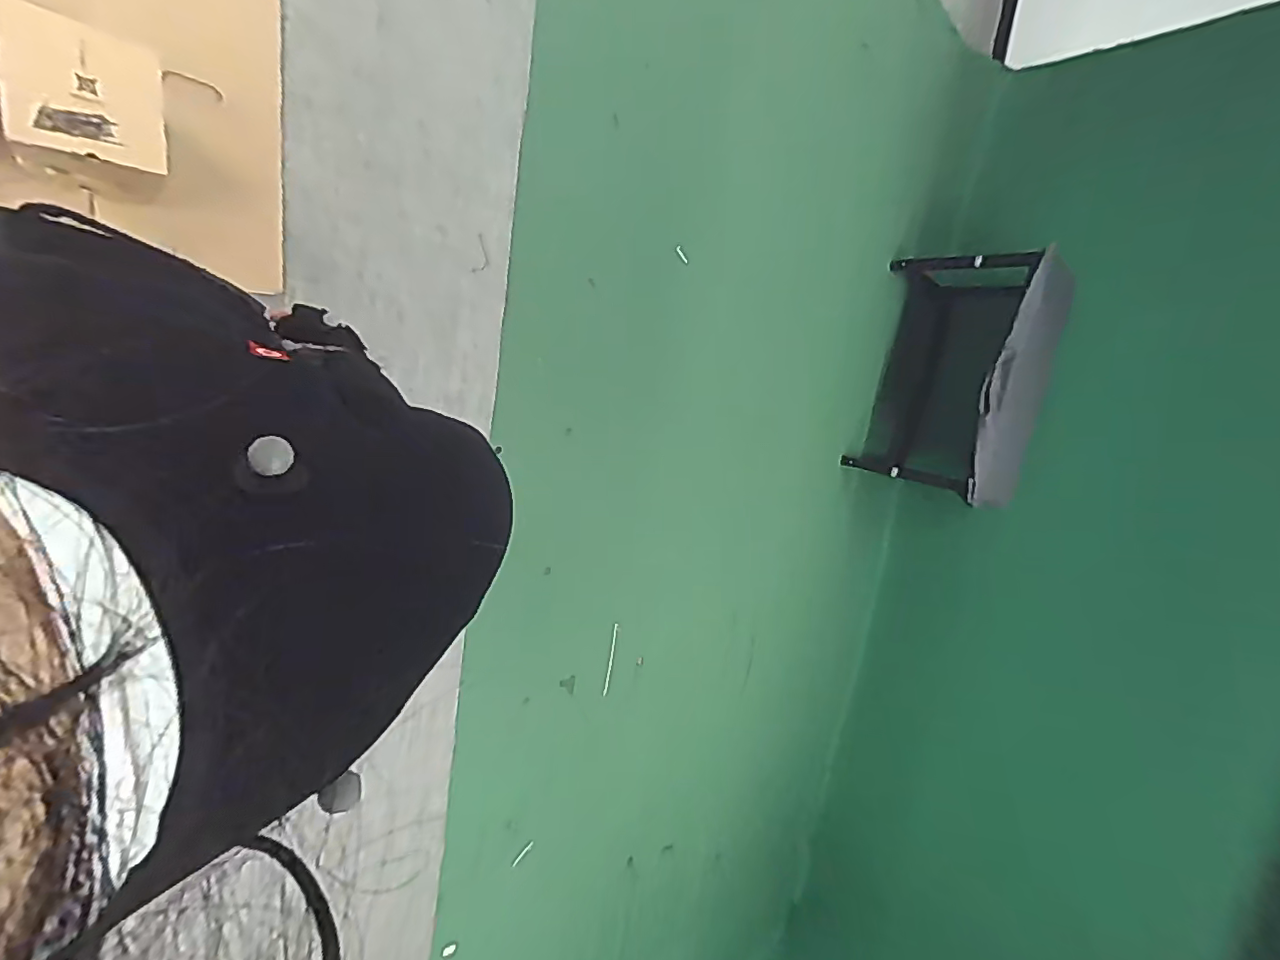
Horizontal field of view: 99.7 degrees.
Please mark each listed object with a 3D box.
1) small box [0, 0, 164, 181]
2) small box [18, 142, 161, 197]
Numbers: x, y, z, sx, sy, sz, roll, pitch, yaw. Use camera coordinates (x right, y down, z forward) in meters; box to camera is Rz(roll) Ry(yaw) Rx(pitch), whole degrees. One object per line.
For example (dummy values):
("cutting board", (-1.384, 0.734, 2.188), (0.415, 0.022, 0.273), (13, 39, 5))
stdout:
("small box", (-0.823, -0.569, 0.805), (0.168, 0.176, 0.179), (-6, 107, -43))
("small box", (-0.935, -0.605, 0.920), (0.168, 0.176, 0.179), (-5, 108, -43))
